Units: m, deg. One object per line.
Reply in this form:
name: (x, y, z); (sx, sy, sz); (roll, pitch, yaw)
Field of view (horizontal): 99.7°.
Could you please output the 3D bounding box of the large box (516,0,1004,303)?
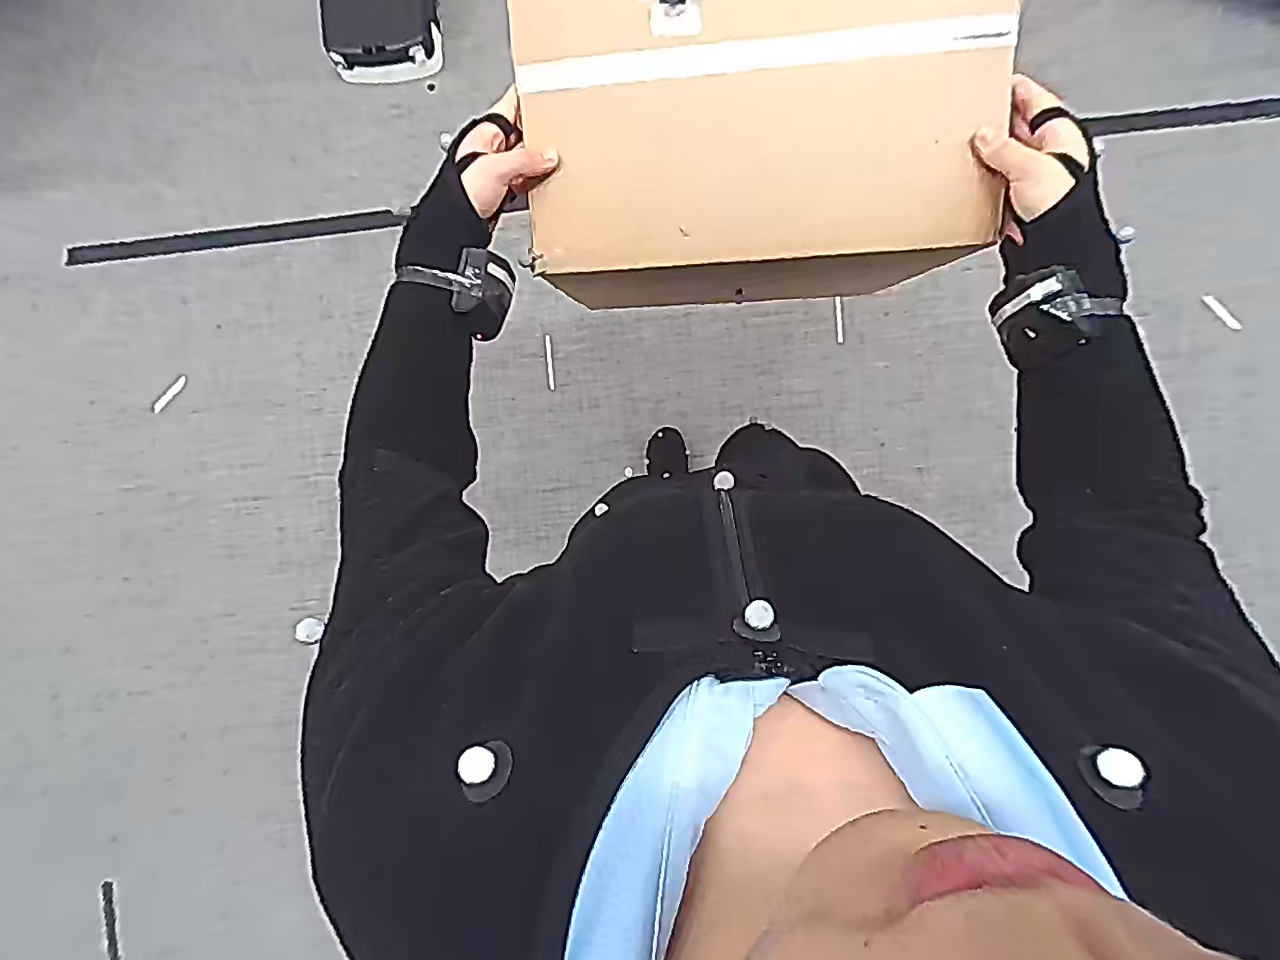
large box: (0.110, -0.384, 0.600); (0.408, 0.320, 0.320); (-2, 101, 6)
